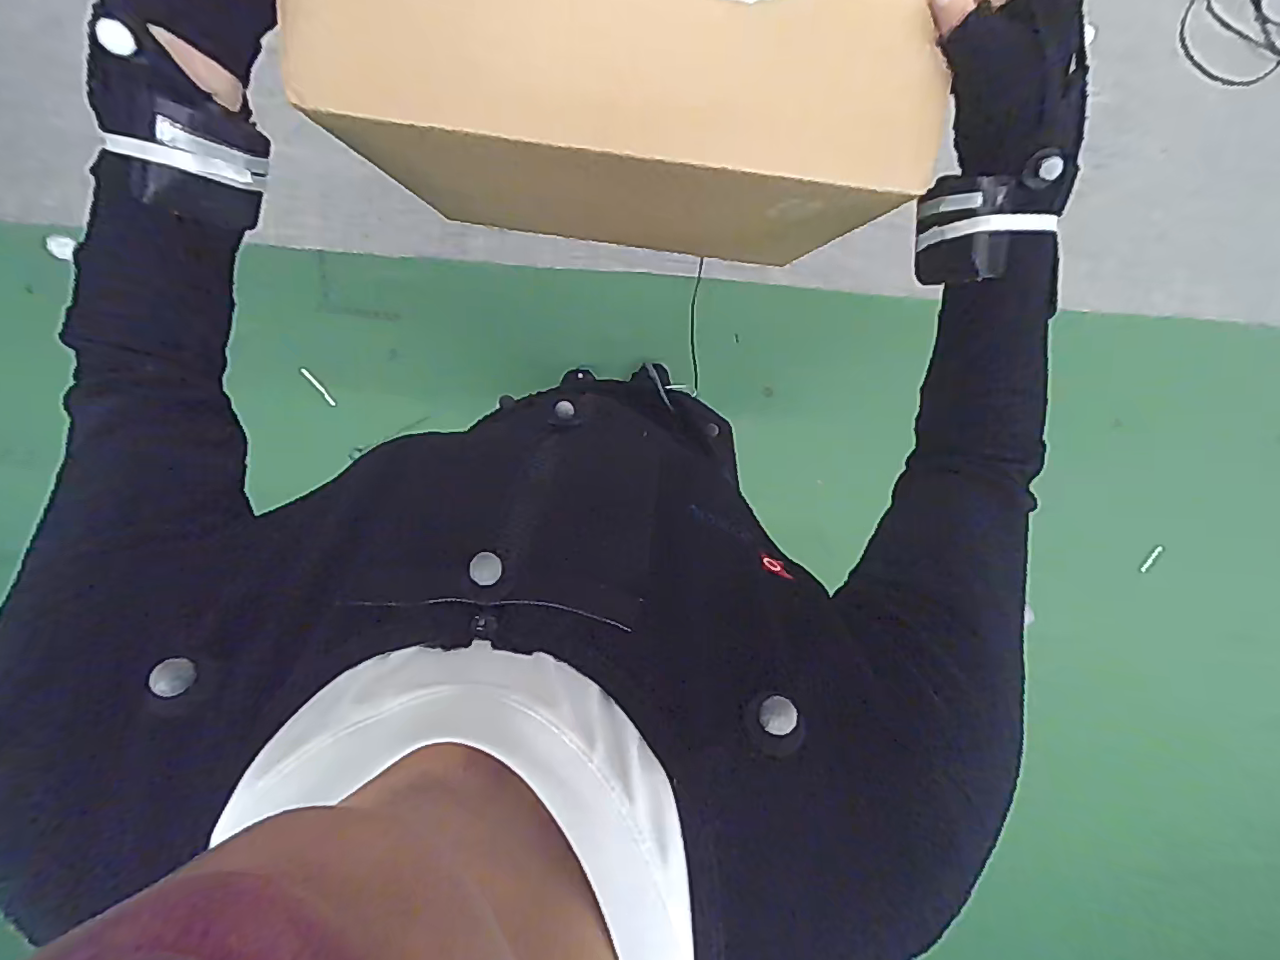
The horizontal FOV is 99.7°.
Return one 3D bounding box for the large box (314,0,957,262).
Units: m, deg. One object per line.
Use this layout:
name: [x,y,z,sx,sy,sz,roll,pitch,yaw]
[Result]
large box: [0.001,-0.393,0.465,0.408,0.320,0.320,6,104,-3]
